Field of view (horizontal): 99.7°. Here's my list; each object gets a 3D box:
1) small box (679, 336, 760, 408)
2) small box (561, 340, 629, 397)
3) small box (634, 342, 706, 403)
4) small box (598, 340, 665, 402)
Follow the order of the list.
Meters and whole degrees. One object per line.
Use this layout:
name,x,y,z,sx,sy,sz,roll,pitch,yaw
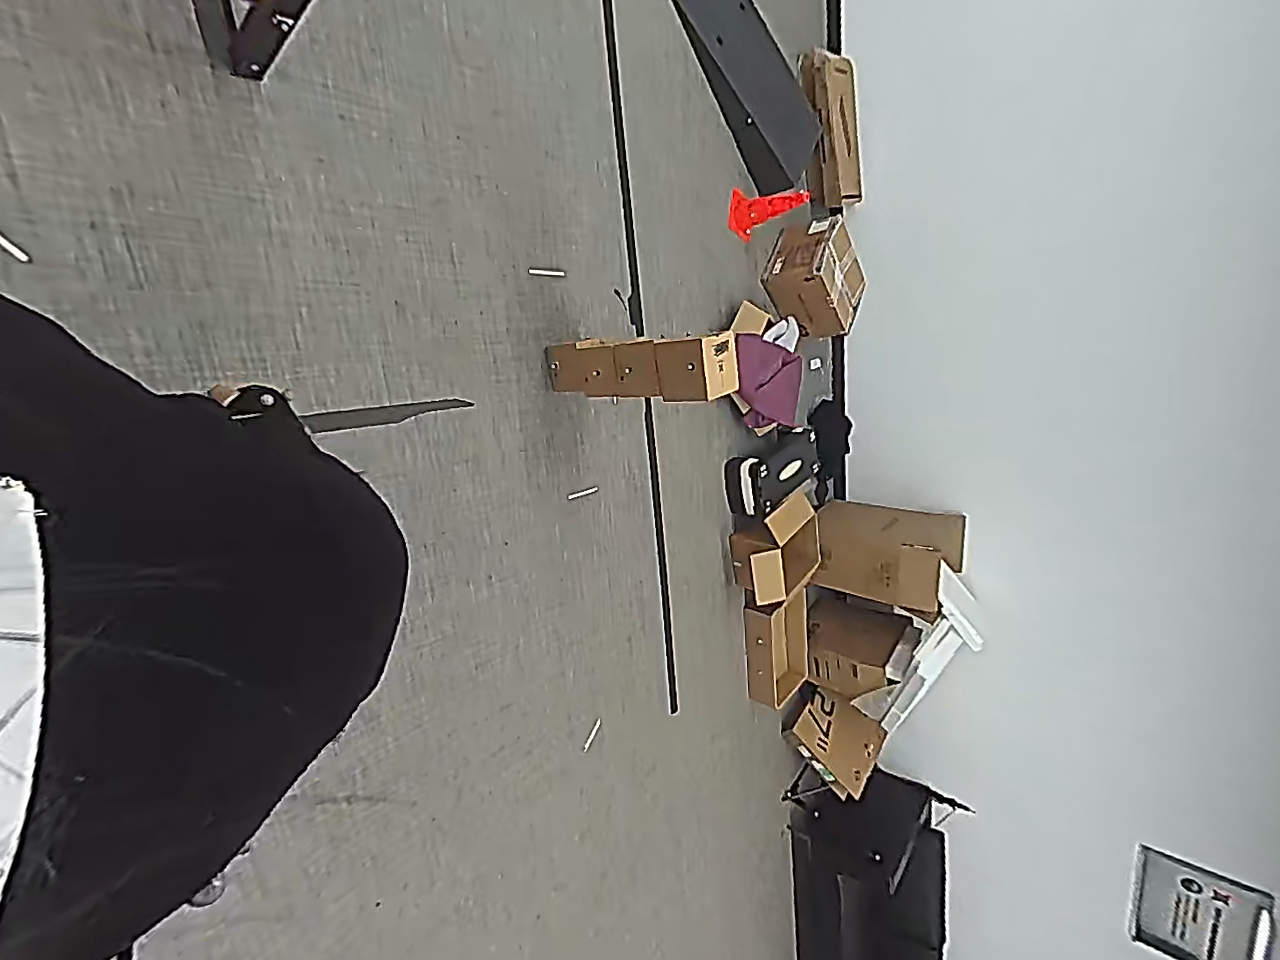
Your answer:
small box,0.228,-0.310,1.565,0.168,0.176,0.179,-27,115,-44
small box,-0.145,-0.388,1.880,0.179,0.176,0.168,-27,114,-42
small box,0.105,-0.333,1.671,0.179,0.176,0.168,-22,111,-44
small box,-0.022,-0.355,1.775,0.179,0.176,0.168,-28,115,-42
